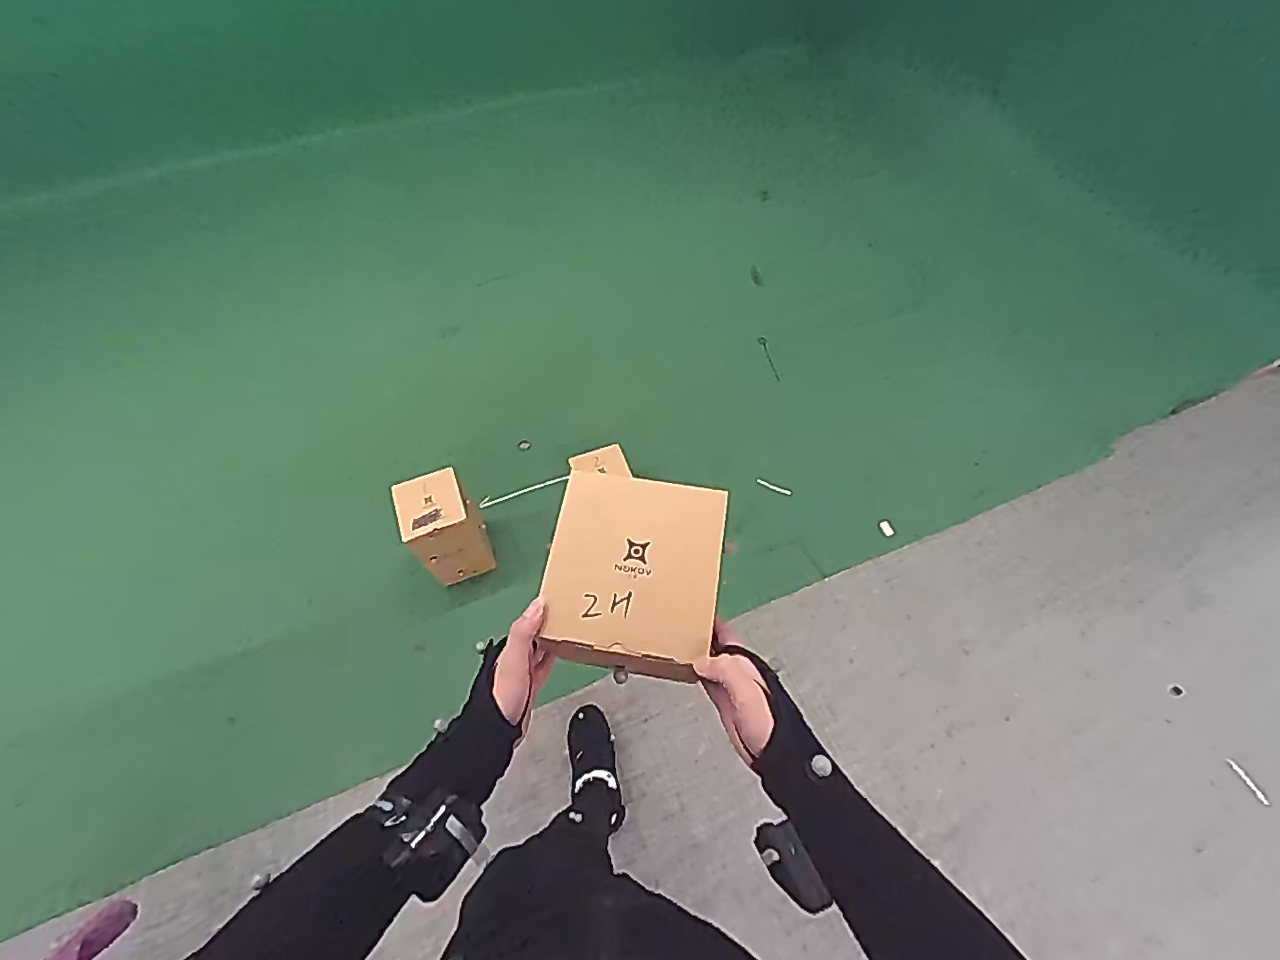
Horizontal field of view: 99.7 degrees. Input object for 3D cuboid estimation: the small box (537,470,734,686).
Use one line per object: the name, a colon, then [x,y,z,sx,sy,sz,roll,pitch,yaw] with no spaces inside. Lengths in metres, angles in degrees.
small box: [0.001,0.114,0.590,0.168,0.176,0.179,9,65,6]

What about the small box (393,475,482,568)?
small box: [-0.542,0.121,1.463,0.168,0.176,0.179,-20,60,-12]

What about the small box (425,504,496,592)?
small box: [-0.543,0.205,1.603,0.168,0.176,0.179,-20,61,-12]
